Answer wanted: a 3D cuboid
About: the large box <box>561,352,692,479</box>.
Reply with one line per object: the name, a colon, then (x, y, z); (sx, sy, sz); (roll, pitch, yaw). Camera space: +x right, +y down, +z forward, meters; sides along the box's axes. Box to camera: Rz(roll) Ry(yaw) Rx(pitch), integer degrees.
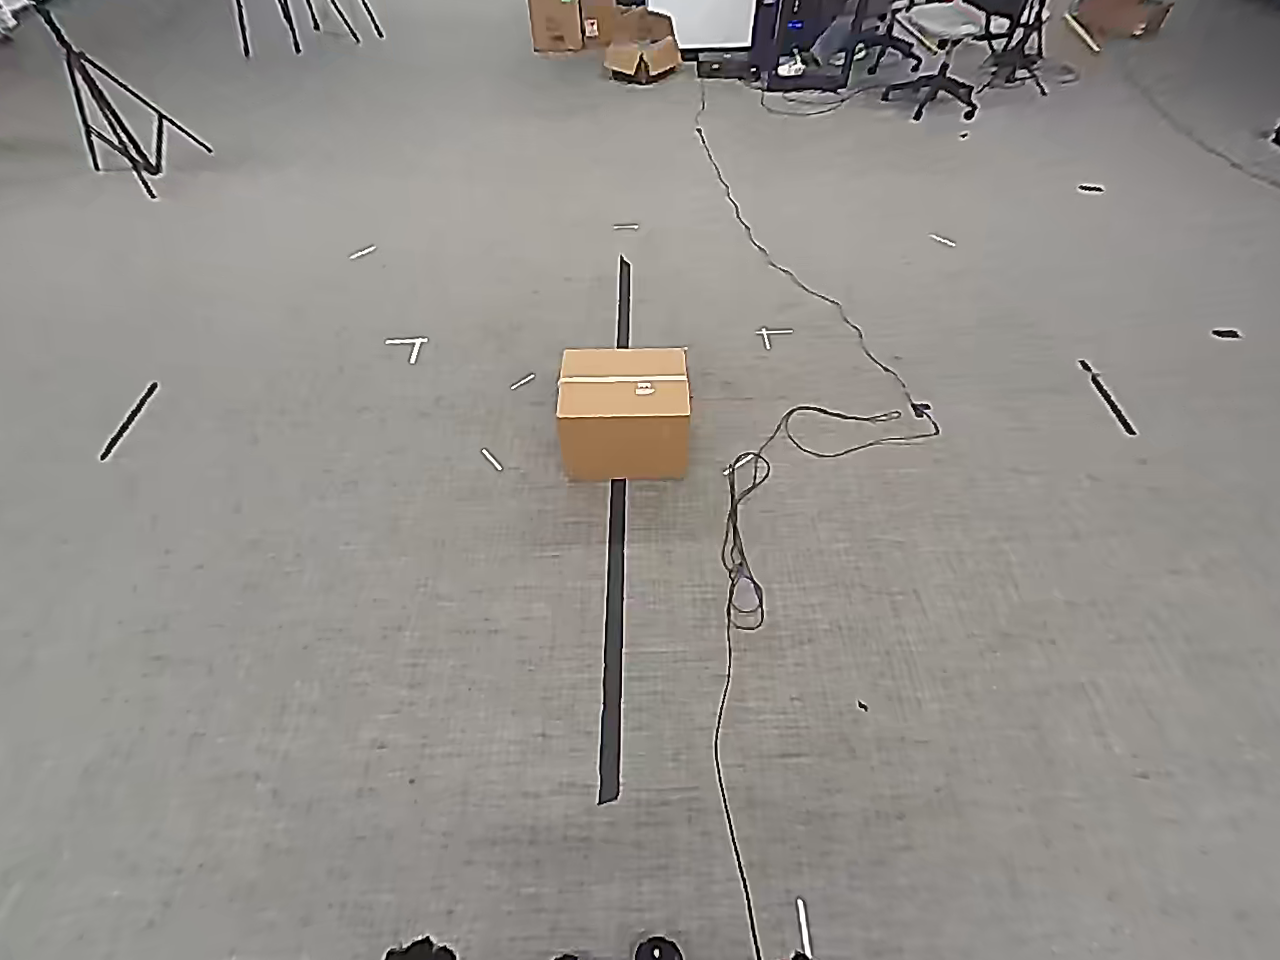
large box: (-0.045, -0.215, 1.826); (0.408, 0.320, 0.320); (0, 53, 0)
